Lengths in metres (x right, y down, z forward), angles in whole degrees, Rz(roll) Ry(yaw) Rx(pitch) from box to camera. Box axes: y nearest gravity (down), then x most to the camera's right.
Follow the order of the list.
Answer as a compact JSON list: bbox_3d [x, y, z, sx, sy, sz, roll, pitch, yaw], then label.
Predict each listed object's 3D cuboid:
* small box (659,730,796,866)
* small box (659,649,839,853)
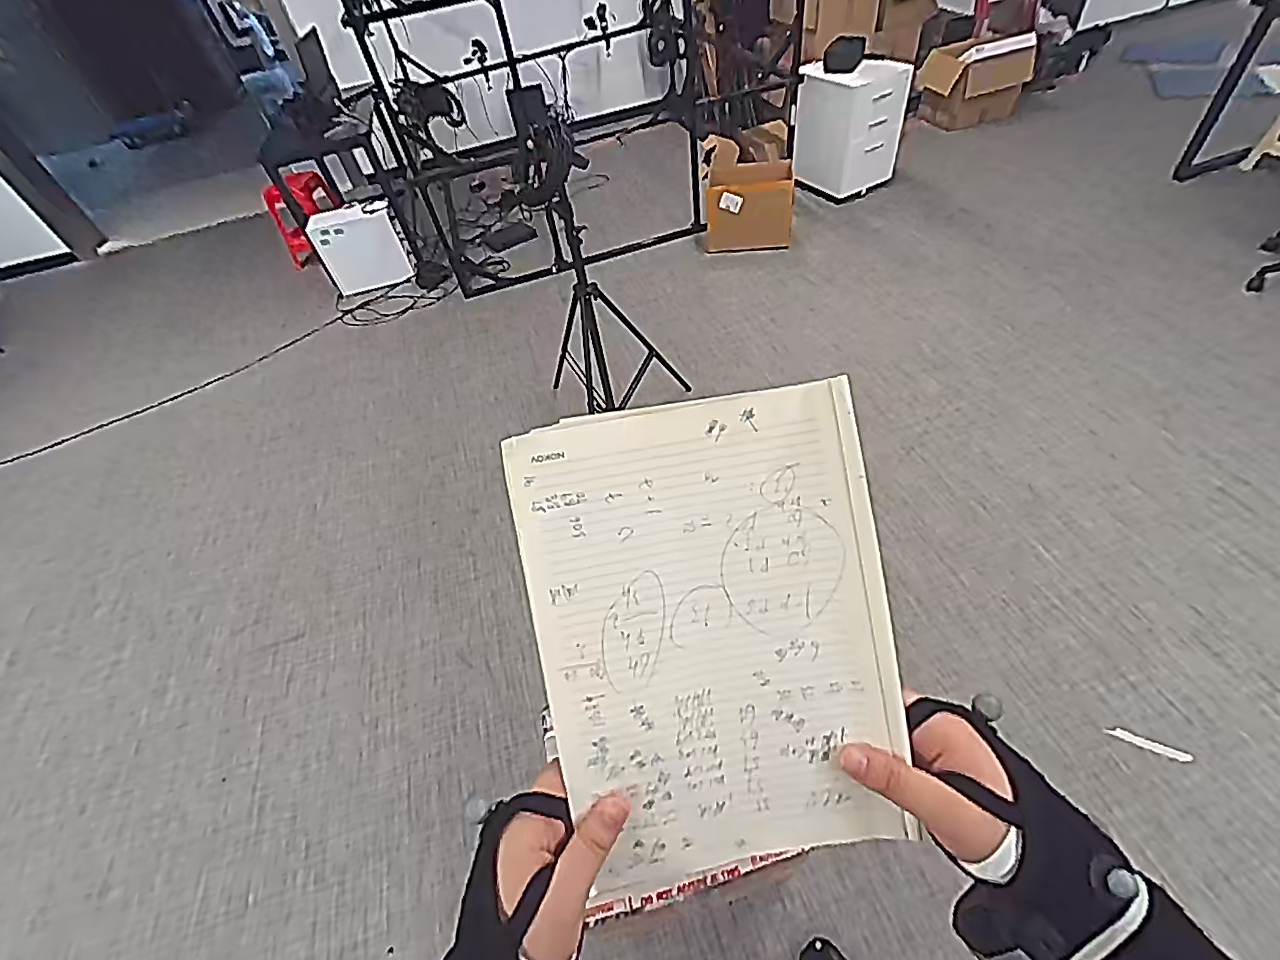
[{"bbox_3d":[0.139,0.461,0.828,0.179,0.176,0.168,-18,50,-8],"label":"small box"},{"bbox_3d":[0.127,0.353,0.703,0.168,0.176,0.179,-15,50,-6],"label":"small box"}]
